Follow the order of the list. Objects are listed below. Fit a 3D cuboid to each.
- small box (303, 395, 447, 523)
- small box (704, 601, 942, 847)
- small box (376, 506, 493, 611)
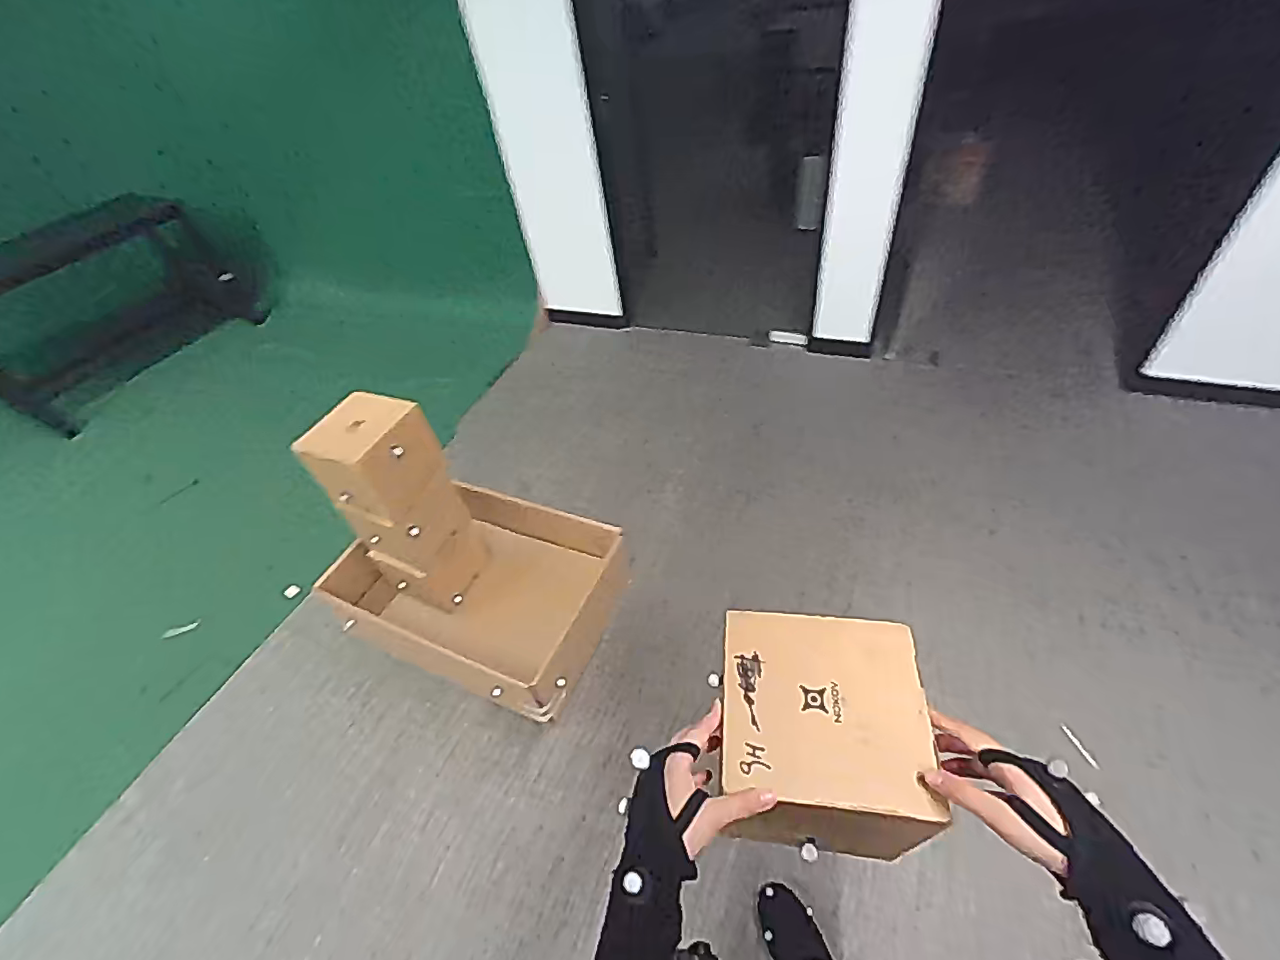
[{"bbox_3d":[-0.517,-0.043,1.090,0.168,0.176,0.179,13,50,22],"label":"small box"},{"bbox_3d":[0.157,0.240,0.528,0.179,0.176,0.168,3,46,7],"label":"small box"},{"bbox_3d":[-0.488,0.195,1.312,0.179,0.176,0.168,15,51,23],"label":"small box"}]
